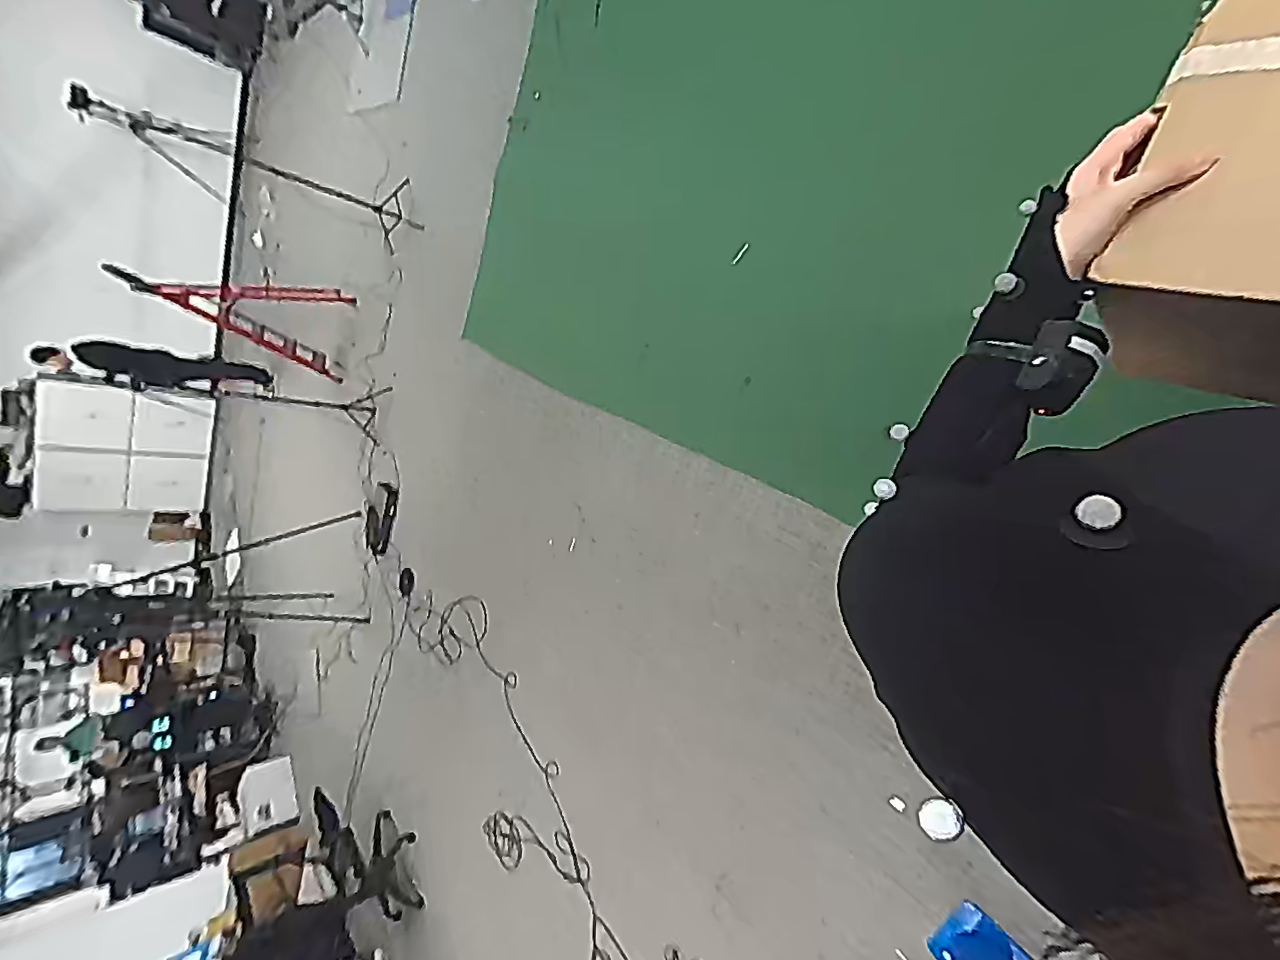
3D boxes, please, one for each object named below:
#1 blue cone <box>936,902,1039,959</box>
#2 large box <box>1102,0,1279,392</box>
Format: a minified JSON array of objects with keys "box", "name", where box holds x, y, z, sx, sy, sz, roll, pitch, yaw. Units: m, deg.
[{"box":[0.724,1.136,1.169,0.193,0.380,0.192,40,114,37],"name":"blue cone"},{"box":[0.632,-0.222,0.370,0.408,0.320,0.320,29,105,41],"name":"large box"}]
